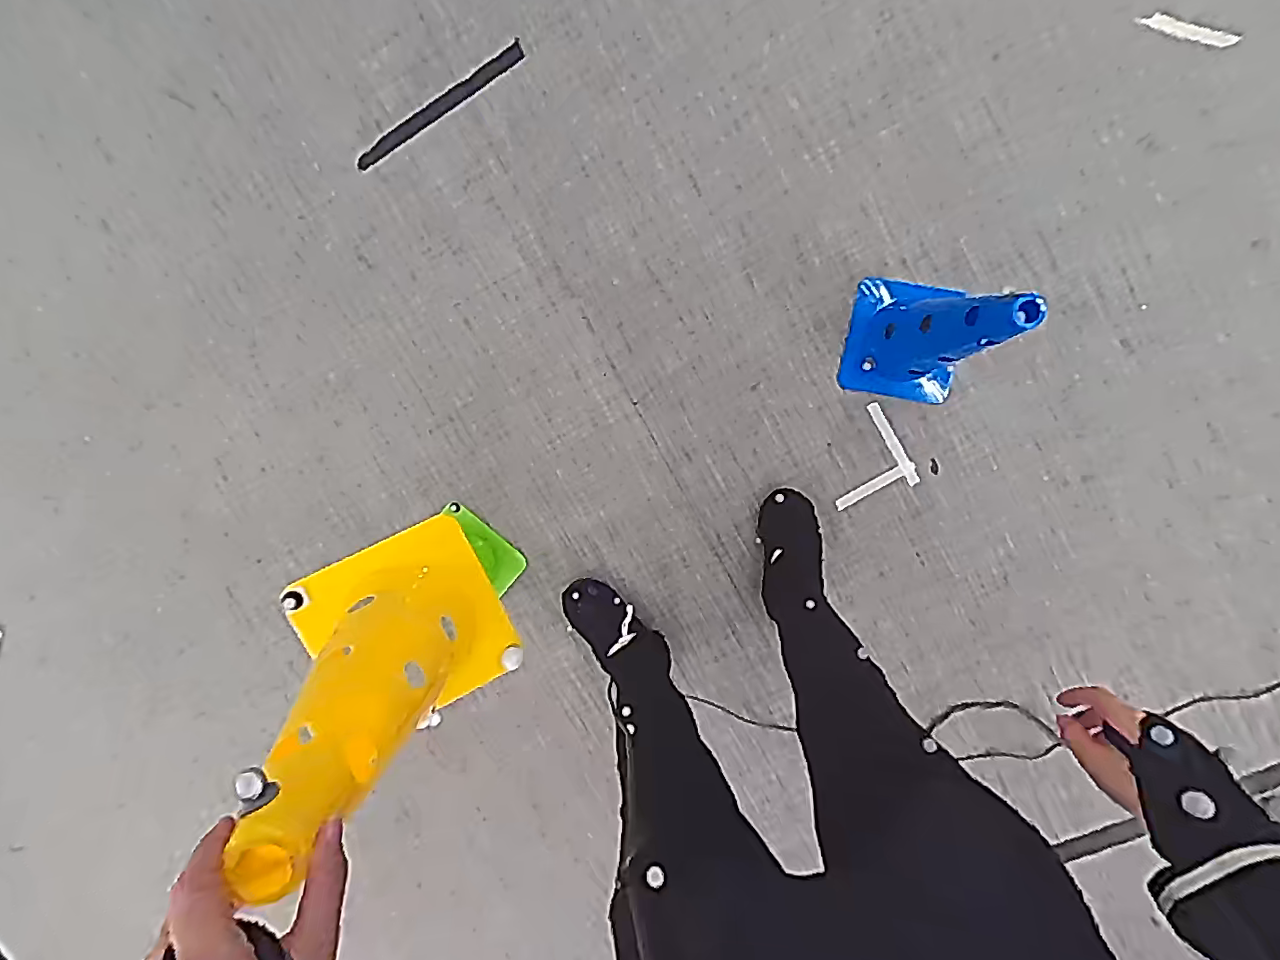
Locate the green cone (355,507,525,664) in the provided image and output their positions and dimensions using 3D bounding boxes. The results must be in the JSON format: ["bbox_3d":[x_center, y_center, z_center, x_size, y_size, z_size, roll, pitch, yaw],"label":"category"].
[{"bbox_3d":[-0.371,0.208,0.922,0.202,0.368,0.200,39,100,-3],"label":"green cone"}]
